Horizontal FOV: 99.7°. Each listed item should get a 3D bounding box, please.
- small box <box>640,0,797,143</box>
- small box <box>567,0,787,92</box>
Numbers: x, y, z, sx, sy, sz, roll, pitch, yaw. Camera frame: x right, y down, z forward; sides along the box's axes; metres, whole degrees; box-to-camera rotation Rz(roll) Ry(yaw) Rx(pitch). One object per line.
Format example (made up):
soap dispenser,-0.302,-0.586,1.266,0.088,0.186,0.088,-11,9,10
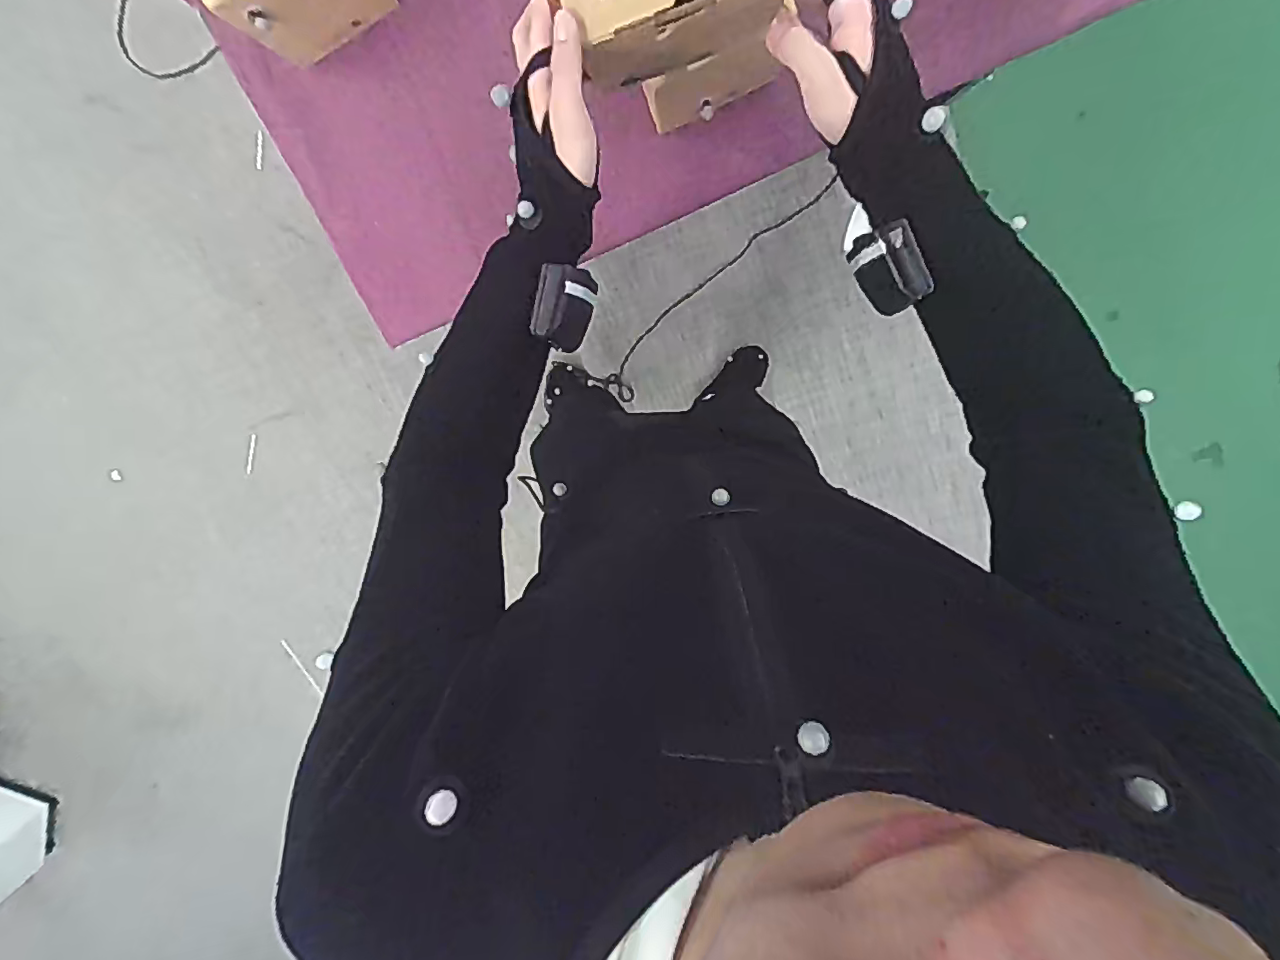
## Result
small box,0.065,-0.540,0.633,0.168,0.176,0.179,-20,104,11
small box,0.019,-0.427,0.411,0.168,0.176,0.179,-14,112,9
